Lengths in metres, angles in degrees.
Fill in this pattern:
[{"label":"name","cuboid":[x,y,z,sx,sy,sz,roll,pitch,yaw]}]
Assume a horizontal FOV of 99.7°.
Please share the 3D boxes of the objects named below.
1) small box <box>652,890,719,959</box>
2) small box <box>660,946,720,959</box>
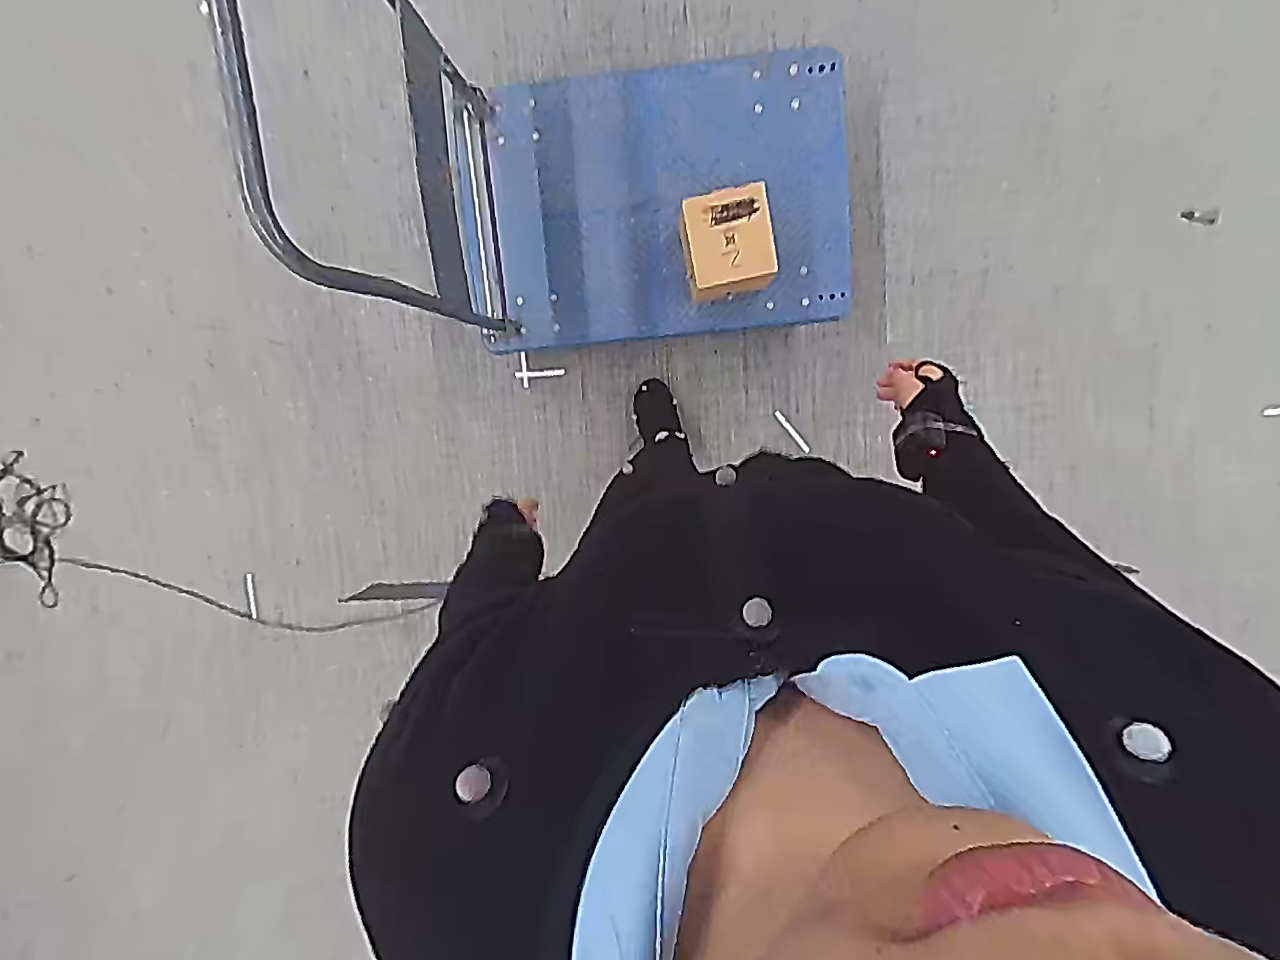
[{"label":"small box","cuboid":[0.137,1.359,1.584,0.168,0.176,0.179,-15,97,4]},{"label":"small box","cuboid":[0.137,1.387,1.423,0.168,0.176,0.179,-3,97,3]}]
